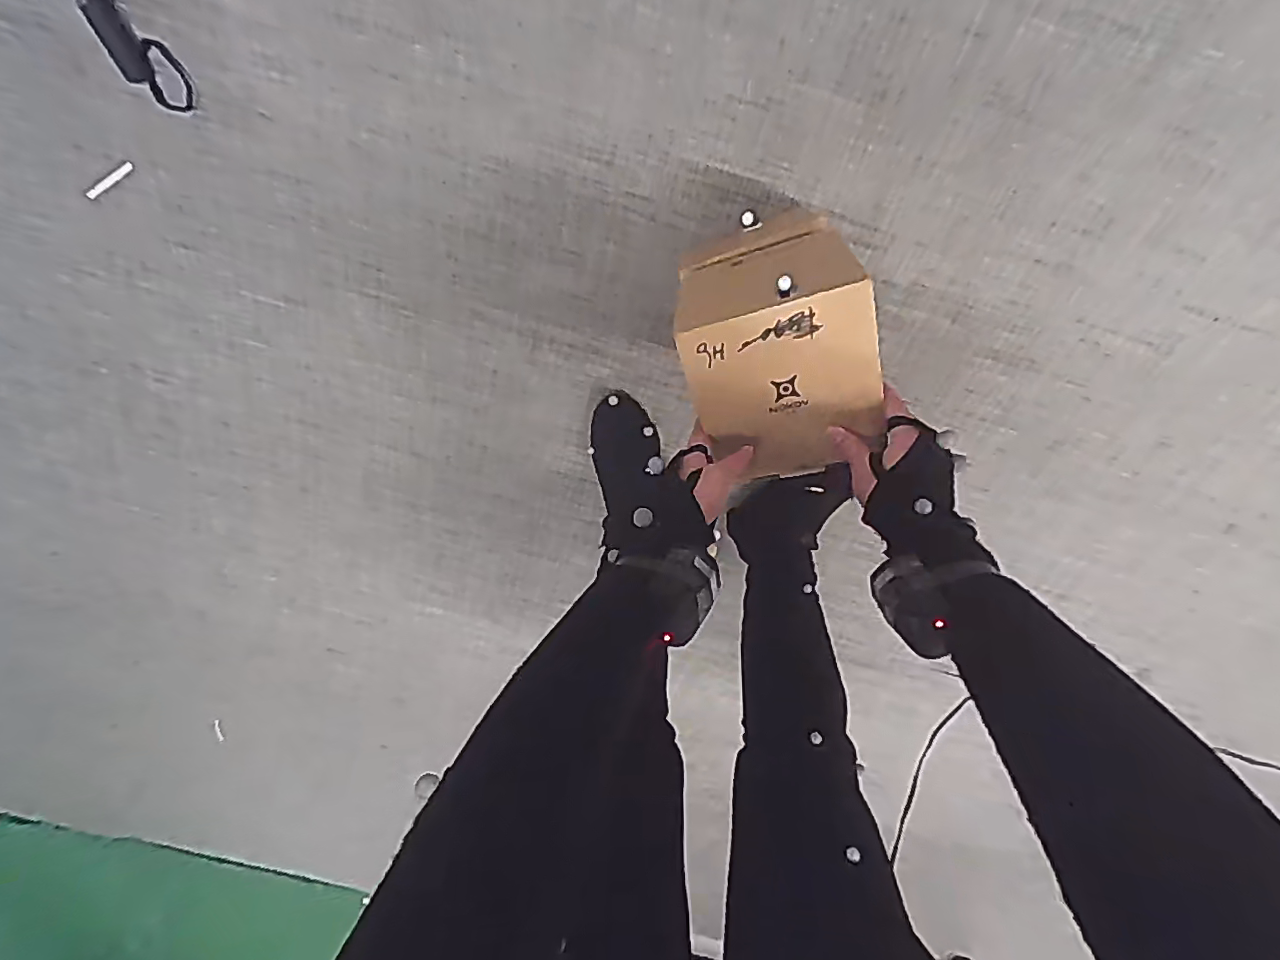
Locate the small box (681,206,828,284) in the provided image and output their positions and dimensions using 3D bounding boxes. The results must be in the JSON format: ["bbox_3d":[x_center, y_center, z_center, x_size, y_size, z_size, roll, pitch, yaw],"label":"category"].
[{"bbox_3d":[0.159,-0.234,0.703,0.168,0.176,0.179,-16,117,15],"label":"small box"}]

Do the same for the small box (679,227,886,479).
[{"bbox_3d":[0.145,-0.130,0.558,0.168,0.176,0.179,-12,126,16],"label":"small box"}]
